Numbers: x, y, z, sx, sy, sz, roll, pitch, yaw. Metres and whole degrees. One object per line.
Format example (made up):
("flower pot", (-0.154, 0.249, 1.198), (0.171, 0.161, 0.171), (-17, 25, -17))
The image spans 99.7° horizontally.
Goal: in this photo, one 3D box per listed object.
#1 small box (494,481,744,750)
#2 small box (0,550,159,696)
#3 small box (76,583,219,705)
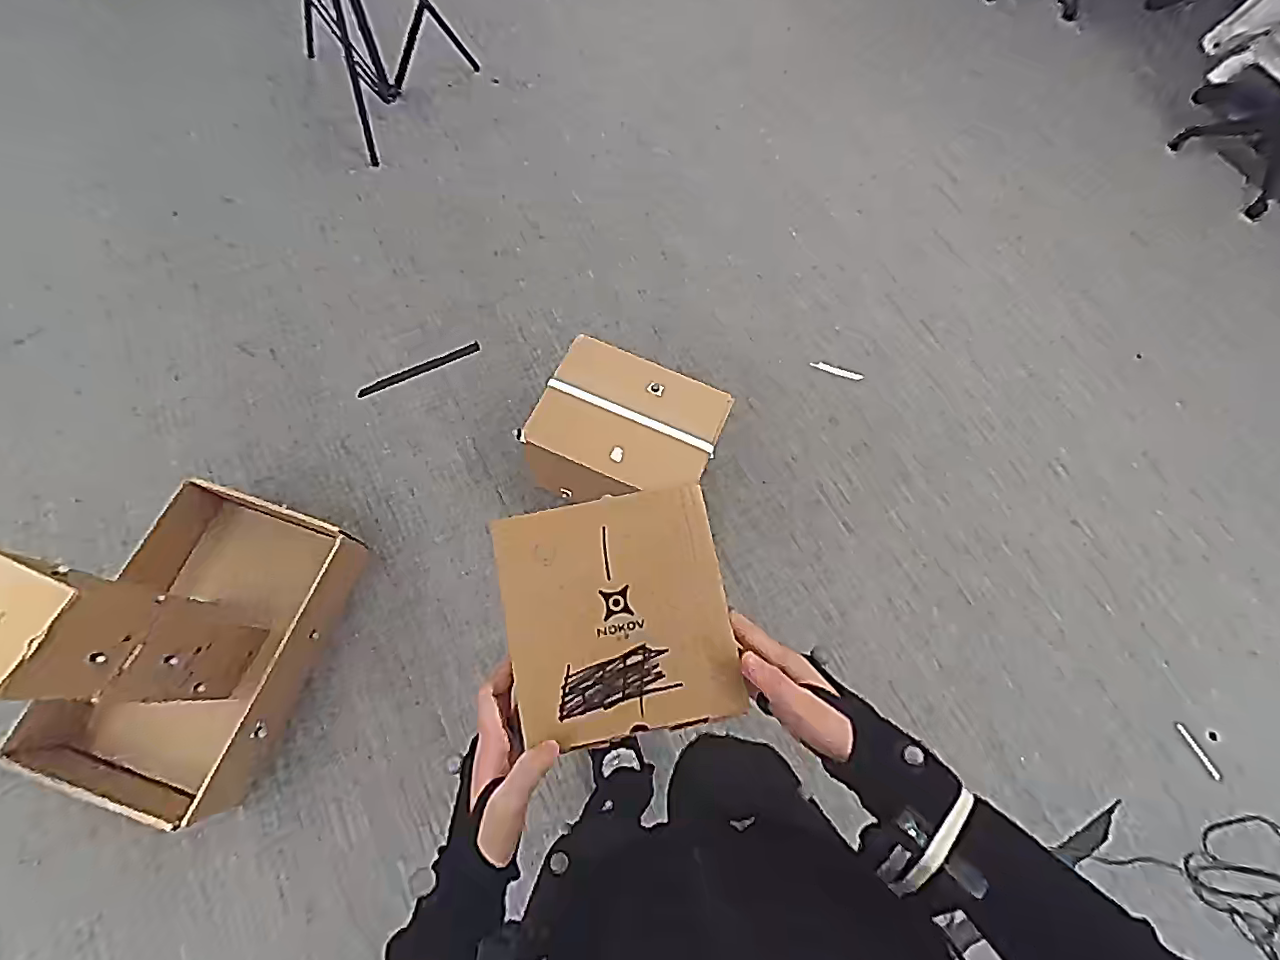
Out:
("small box", (-0.018, 0.107, 0.482), (0.168, 0.176, 0.179), (-11, 82, -3))
("small box", (-0.944, 0.233, 0.856), (0.179, 0.176, 0.168), (21, 69, 4))
("small box", (-0.950, 0.300, 1.005), (0.179, 0.176, 0.168), (23, 69, 4))
